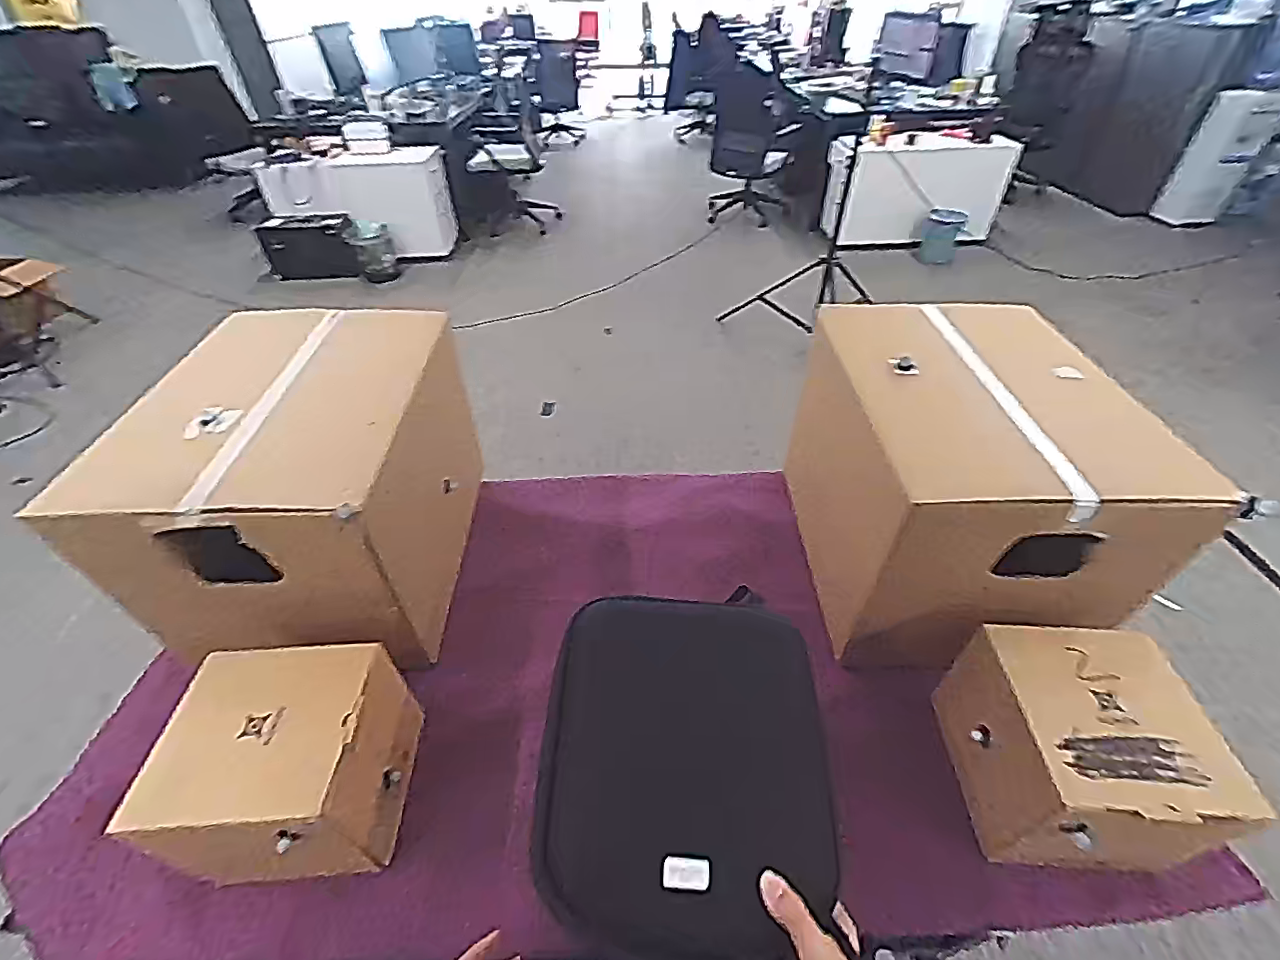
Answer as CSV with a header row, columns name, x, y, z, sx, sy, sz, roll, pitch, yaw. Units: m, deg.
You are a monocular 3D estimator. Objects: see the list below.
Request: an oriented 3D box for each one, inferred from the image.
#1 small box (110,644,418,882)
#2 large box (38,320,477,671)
name,x,y,z,sx,sy,sz,roll,pitch,yaw
small box,-0.356,0.292,0.559,0.179,0.176,0.168,-3,41,-4
large box,-0.431,0.014,0.756,0.320,0.320,0.408,-2,45,-3
